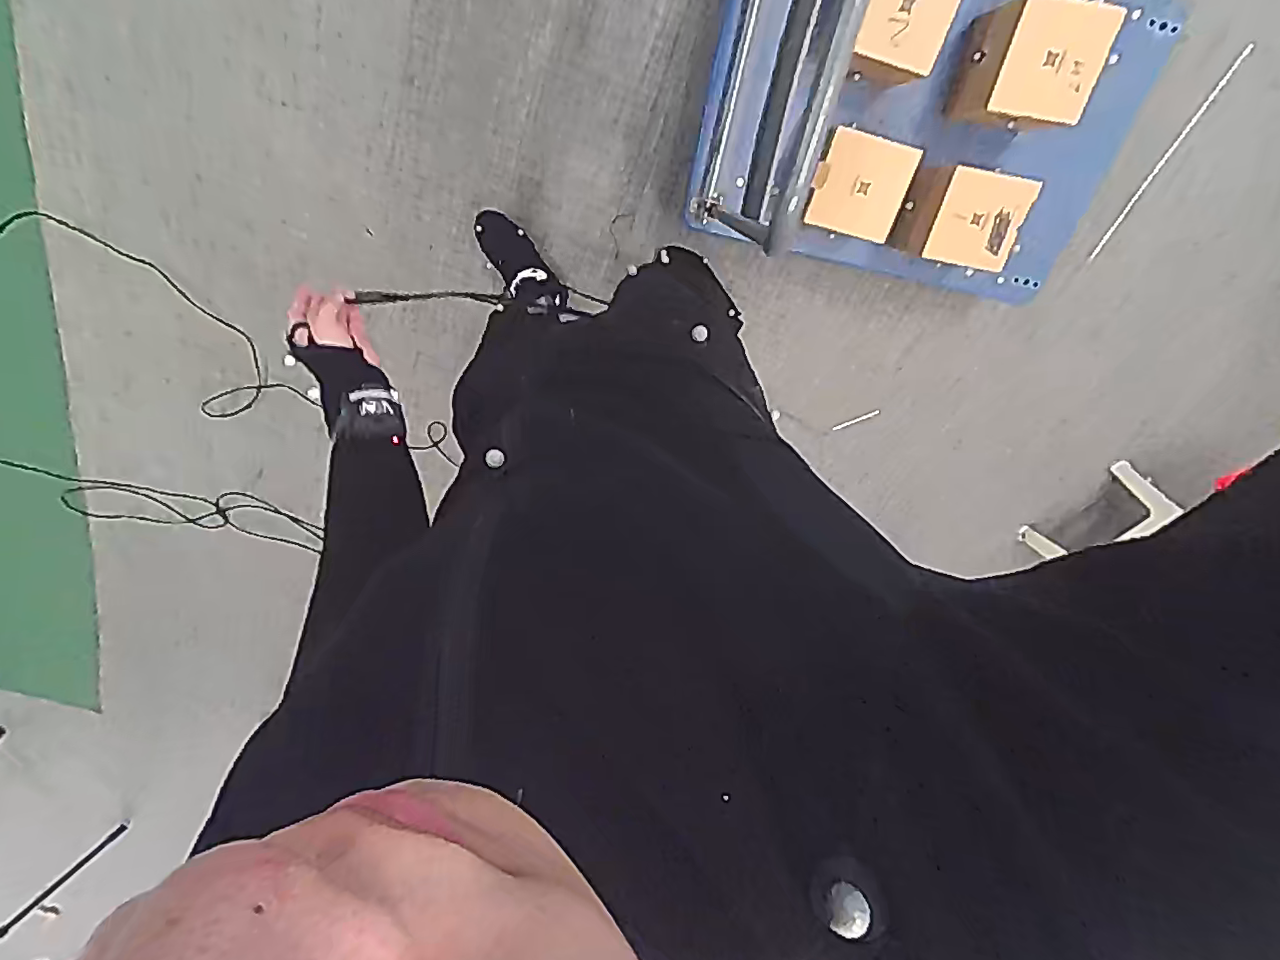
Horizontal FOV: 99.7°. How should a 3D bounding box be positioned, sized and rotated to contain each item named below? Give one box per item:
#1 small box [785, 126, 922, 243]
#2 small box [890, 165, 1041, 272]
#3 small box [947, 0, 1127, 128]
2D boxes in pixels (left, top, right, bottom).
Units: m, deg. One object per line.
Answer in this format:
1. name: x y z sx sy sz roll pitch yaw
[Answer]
1. small box: 0.417 -0.595 1.091 0.179 0.176 0.168 12 119 -7
2. small box: 0.659 -0.545 1.120 0.179 0.176 0.168 9 119 -5
3. small box: 0.710 -0.760 0.995 0.179 0.176 0.168 7 121 -4
